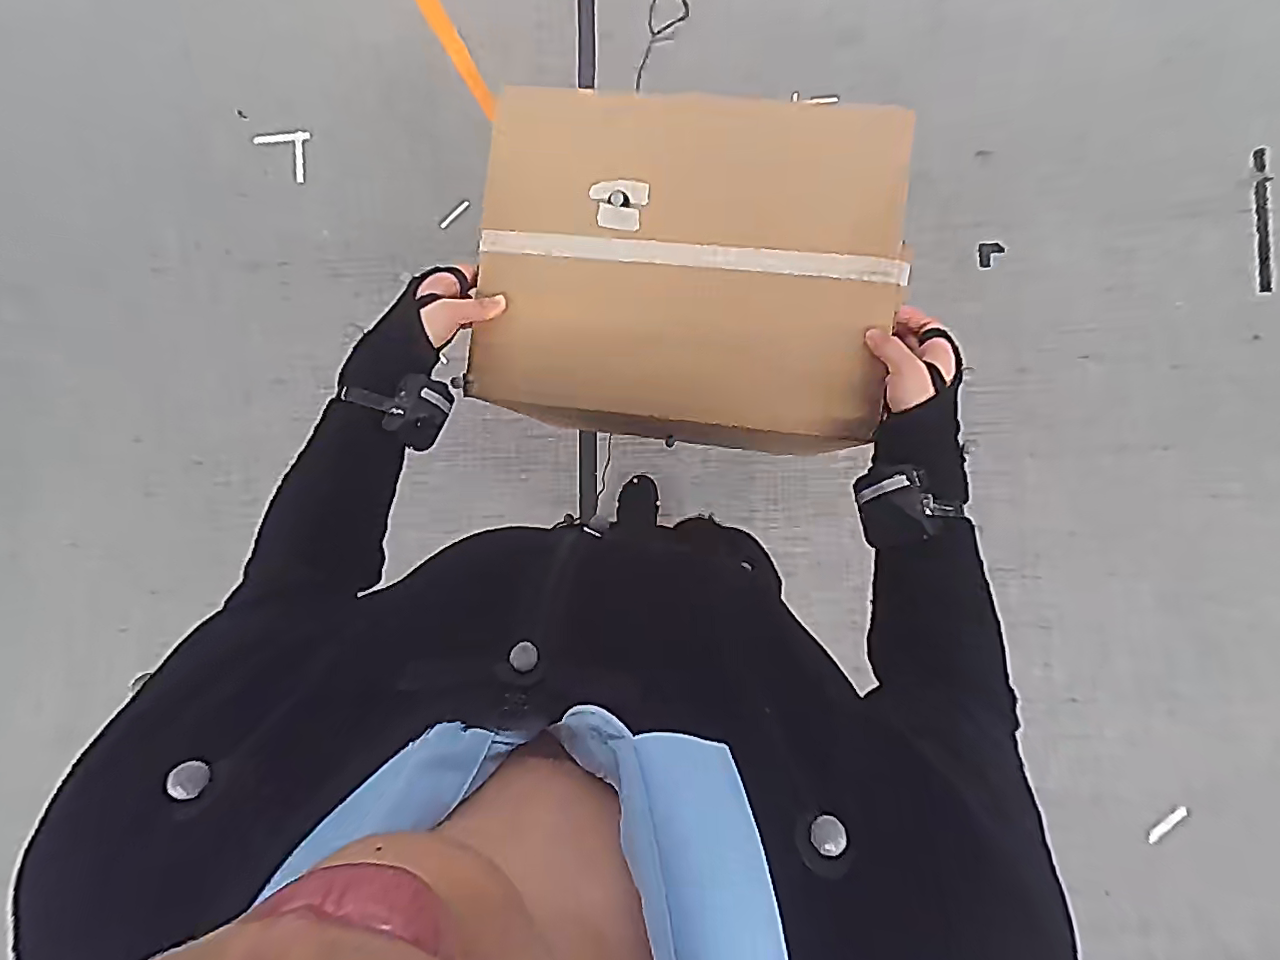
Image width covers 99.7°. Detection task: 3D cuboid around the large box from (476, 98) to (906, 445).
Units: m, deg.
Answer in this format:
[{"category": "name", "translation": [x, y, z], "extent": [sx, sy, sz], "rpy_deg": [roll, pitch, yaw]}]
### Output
[{"category": "large box", "translation": [0.061, -0.220, 0.679], "extent": [0.408, 0.320, 0.320], "rpy_deg": [7, 89, 7]}]
